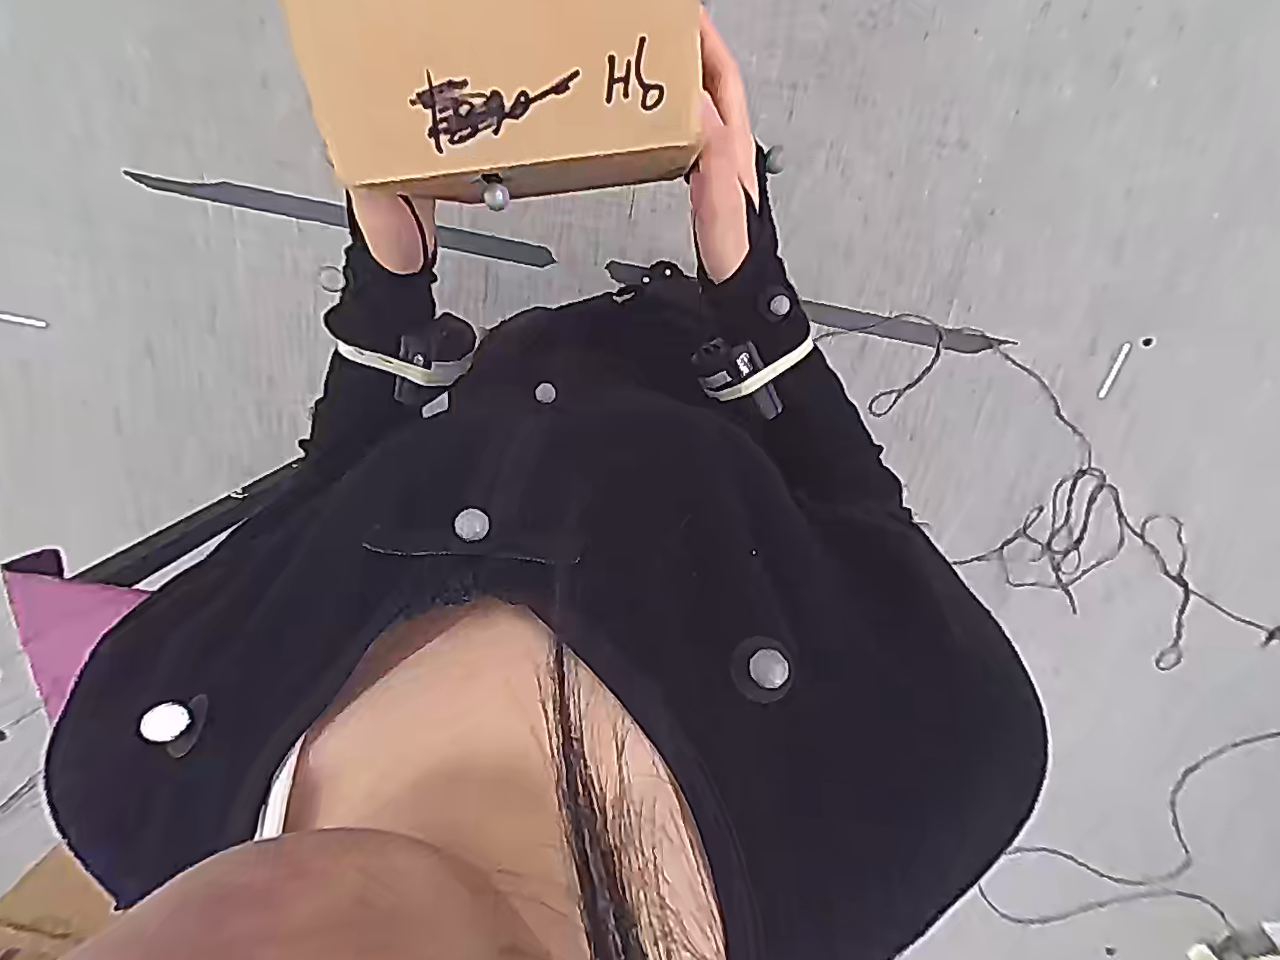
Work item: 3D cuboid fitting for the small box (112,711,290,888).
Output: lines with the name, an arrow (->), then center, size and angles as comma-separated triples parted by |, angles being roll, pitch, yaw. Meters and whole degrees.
small box -> -0.721, 0.530, 0.908 | 0.168, 0.176, 0.179 | 15, 111, -4

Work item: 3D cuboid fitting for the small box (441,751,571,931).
small box -> -0.218, 0.599, 0.910 | 0.168, 0.176, 0.179 | 12, 111, -2

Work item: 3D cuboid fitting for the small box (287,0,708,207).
small box -> -0.057, -0.247, 0.273 | 0.168, 0.176, 0.179 | -5, 114, 5

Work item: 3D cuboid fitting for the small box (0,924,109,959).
small box -> -0.731, 0.645, 0.602 | 0.168, 0.176, 0.179 | 18, 113, -3
